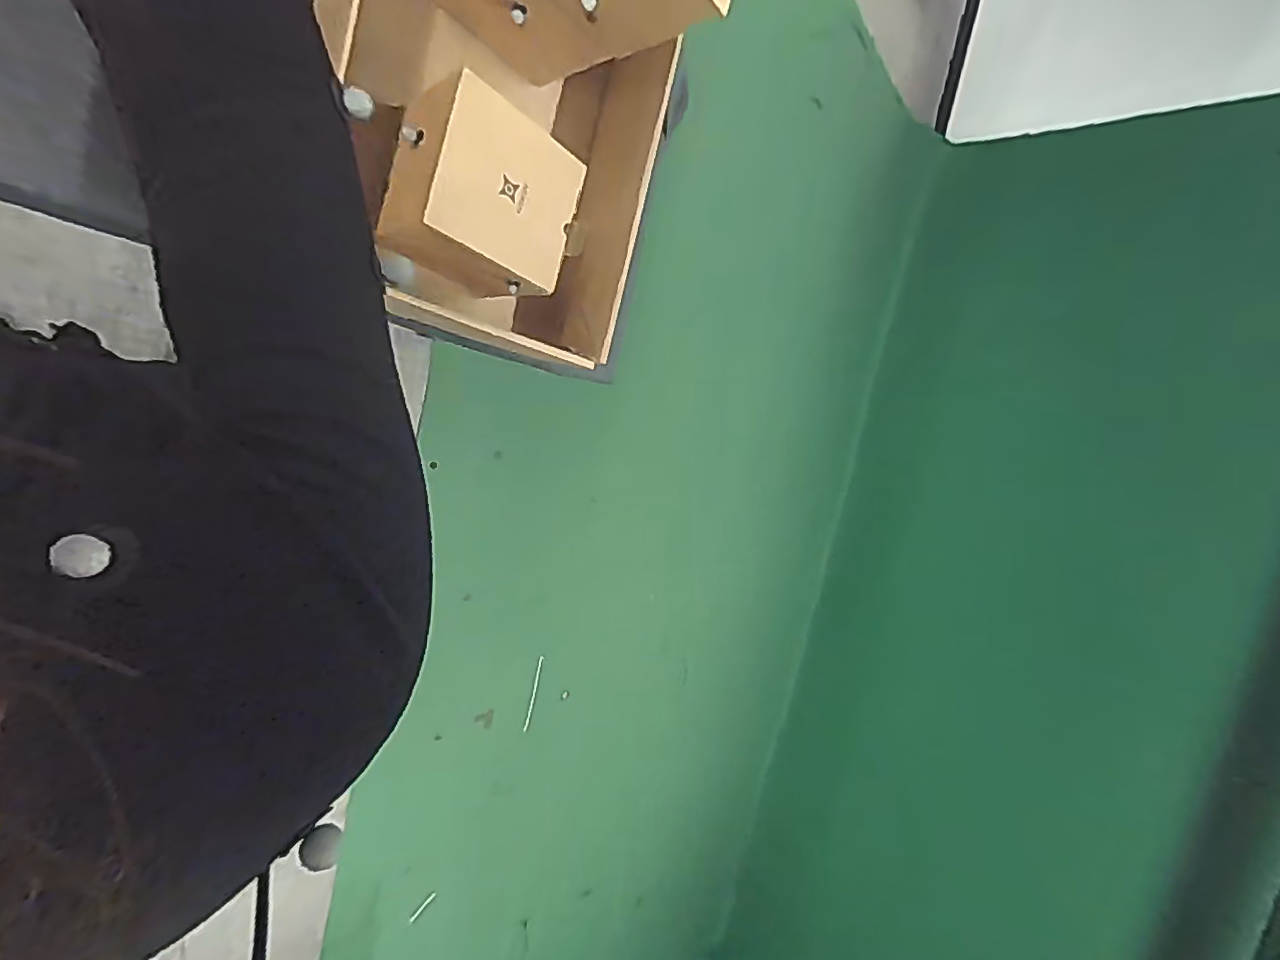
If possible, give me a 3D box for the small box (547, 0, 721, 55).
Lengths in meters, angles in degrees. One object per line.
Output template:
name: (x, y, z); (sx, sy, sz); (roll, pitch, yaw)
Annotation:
small box: (-0.011, -0.585, 0.544); (0.168, 0.176, 0.179); (8, 99, -49)
